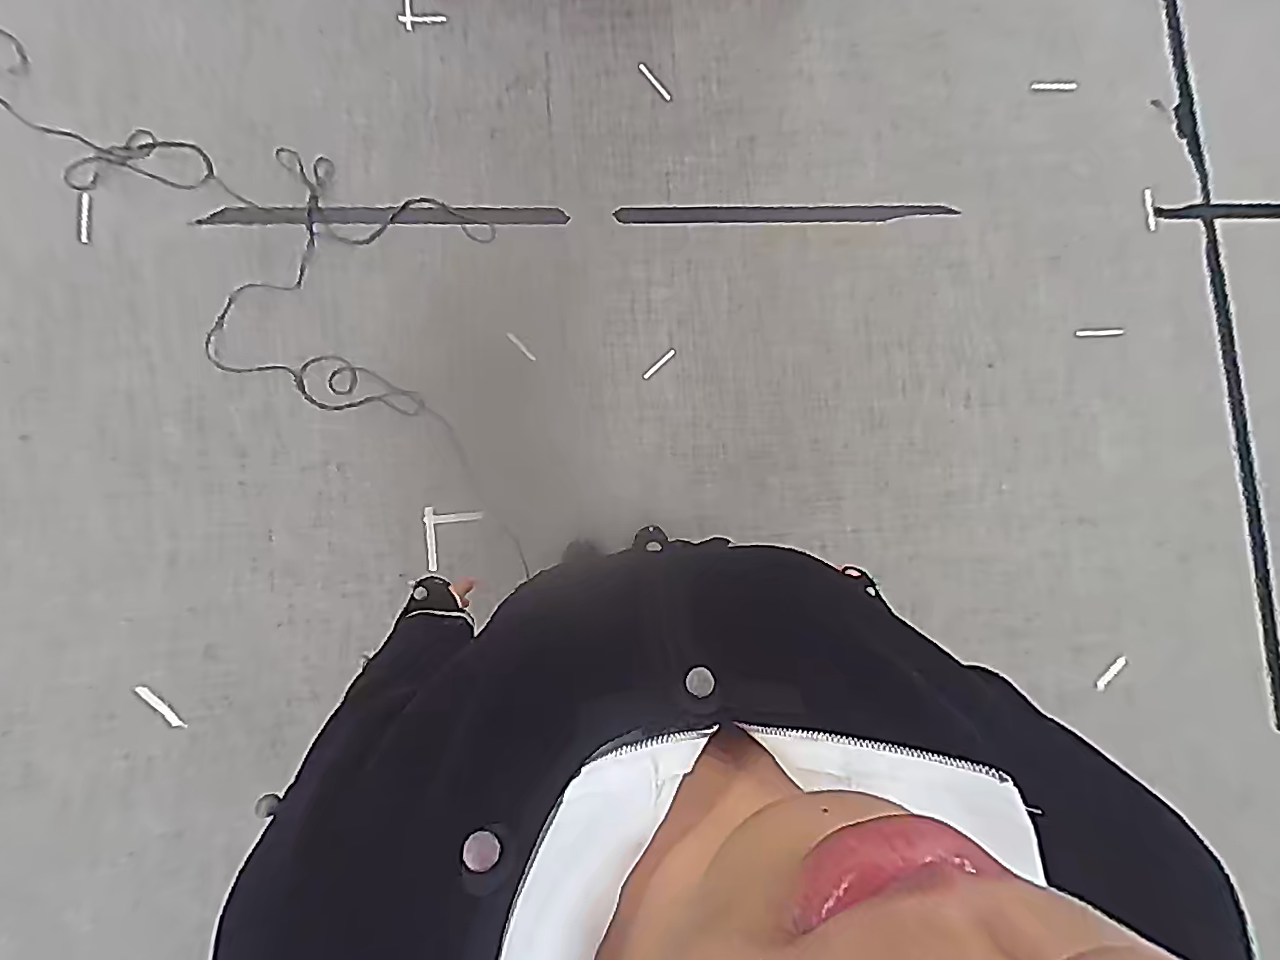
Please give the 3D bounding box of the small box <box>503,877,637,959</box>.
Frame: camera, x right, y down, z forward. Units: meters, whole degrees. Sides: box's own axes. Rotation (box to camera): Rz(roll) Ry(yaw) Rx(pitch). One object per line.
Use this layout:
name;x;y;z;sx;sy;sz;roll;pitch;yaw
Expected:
small box;-0.092;0.668;0.725;0.168;0.176;0.179;0;83;-3

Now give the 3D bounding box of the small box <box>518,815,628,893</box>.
small box;-0.102;0.687;0.887;0.168;0.176;0.179;-3;83;-4
